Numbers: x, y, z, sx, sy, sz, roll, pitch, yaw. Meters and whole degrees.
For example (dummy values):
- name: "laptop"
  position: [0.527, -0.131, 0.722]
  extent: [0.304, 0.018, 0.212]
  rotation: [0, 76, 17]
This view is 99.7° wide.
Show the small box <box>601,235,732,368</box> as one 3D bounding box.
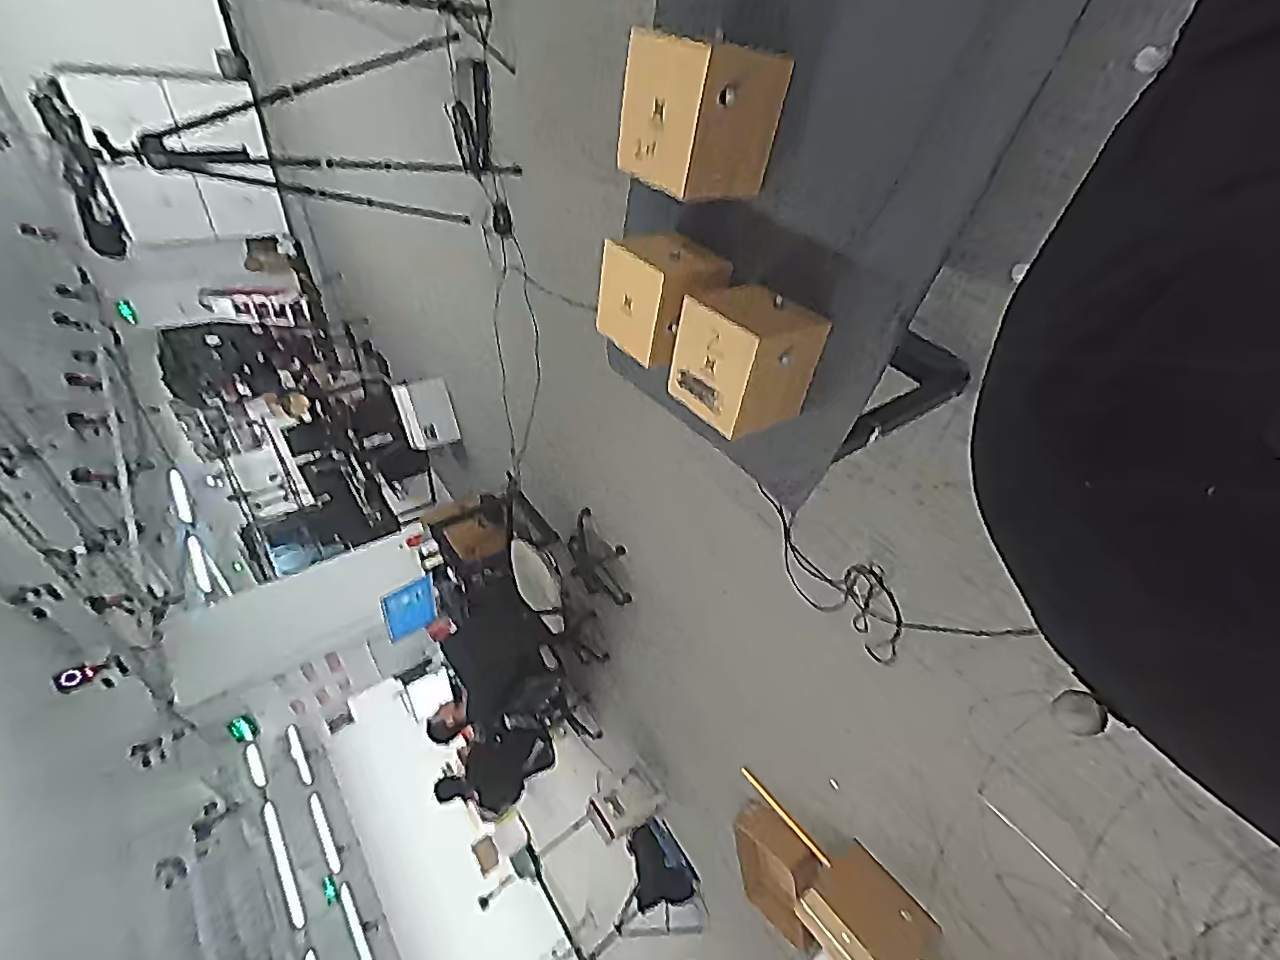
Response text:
- name: "small box"
  position: [0.049, -0.340, 1.008]
  extent: [0.168, 0.176, 0.179]
  rotation: [43, 142, 32]
